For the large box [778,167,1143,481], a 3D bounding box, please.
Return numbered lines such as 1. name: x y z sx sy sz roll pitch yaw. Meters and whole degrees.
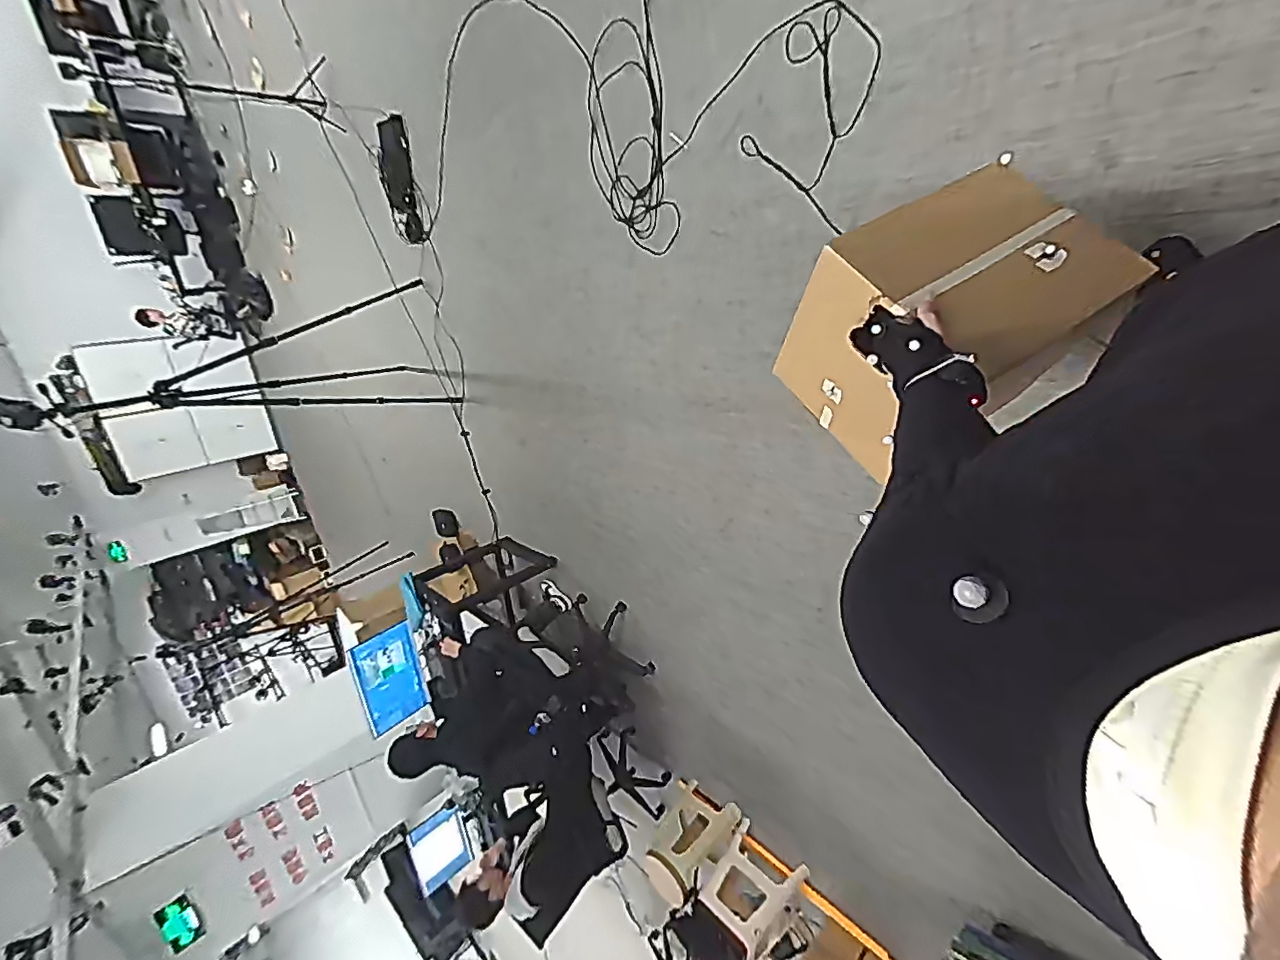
1. large box: 0.522 -0.268 0.956 0.320 0.408 0.320 53 161 20
